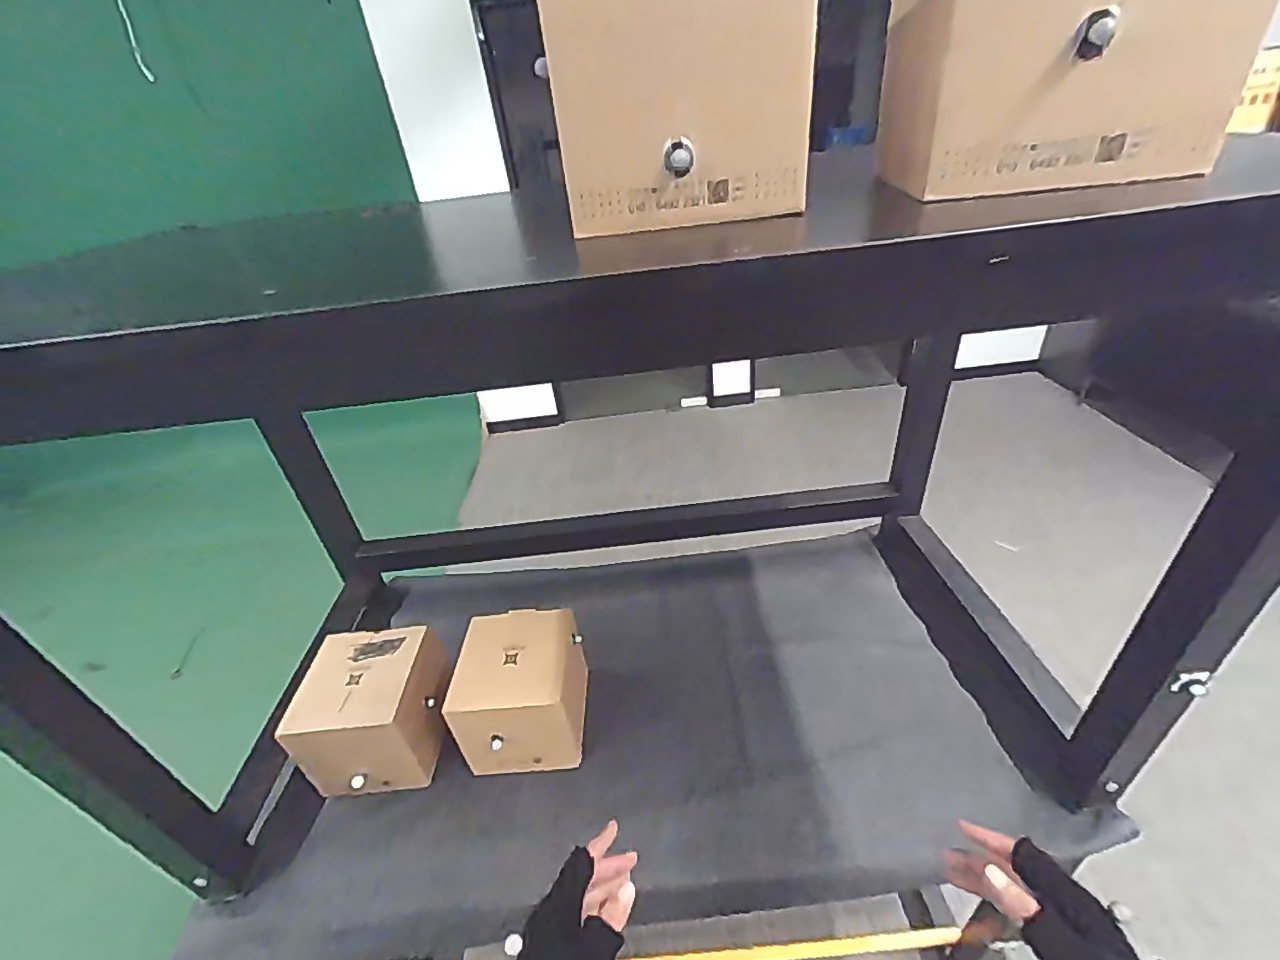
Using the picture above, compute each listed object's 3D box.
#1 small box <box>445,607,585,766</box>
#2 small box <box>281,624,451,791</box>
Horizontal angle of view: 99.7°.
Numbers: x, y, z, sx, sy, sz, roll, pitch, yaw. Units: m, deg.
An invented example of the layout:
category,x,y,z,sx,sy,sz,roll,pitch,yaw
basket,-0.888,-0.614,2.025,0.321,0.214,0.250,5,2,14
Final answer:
category,x,y,z,sx,sy,sz,roll,pitch,yaw
small box,-0.183,0.328,0.854,0.168,0.176,0.179,-5,32,2
small box,-0.409,0.354,0.850,0.168,0.176,0.179,-6,33,1
